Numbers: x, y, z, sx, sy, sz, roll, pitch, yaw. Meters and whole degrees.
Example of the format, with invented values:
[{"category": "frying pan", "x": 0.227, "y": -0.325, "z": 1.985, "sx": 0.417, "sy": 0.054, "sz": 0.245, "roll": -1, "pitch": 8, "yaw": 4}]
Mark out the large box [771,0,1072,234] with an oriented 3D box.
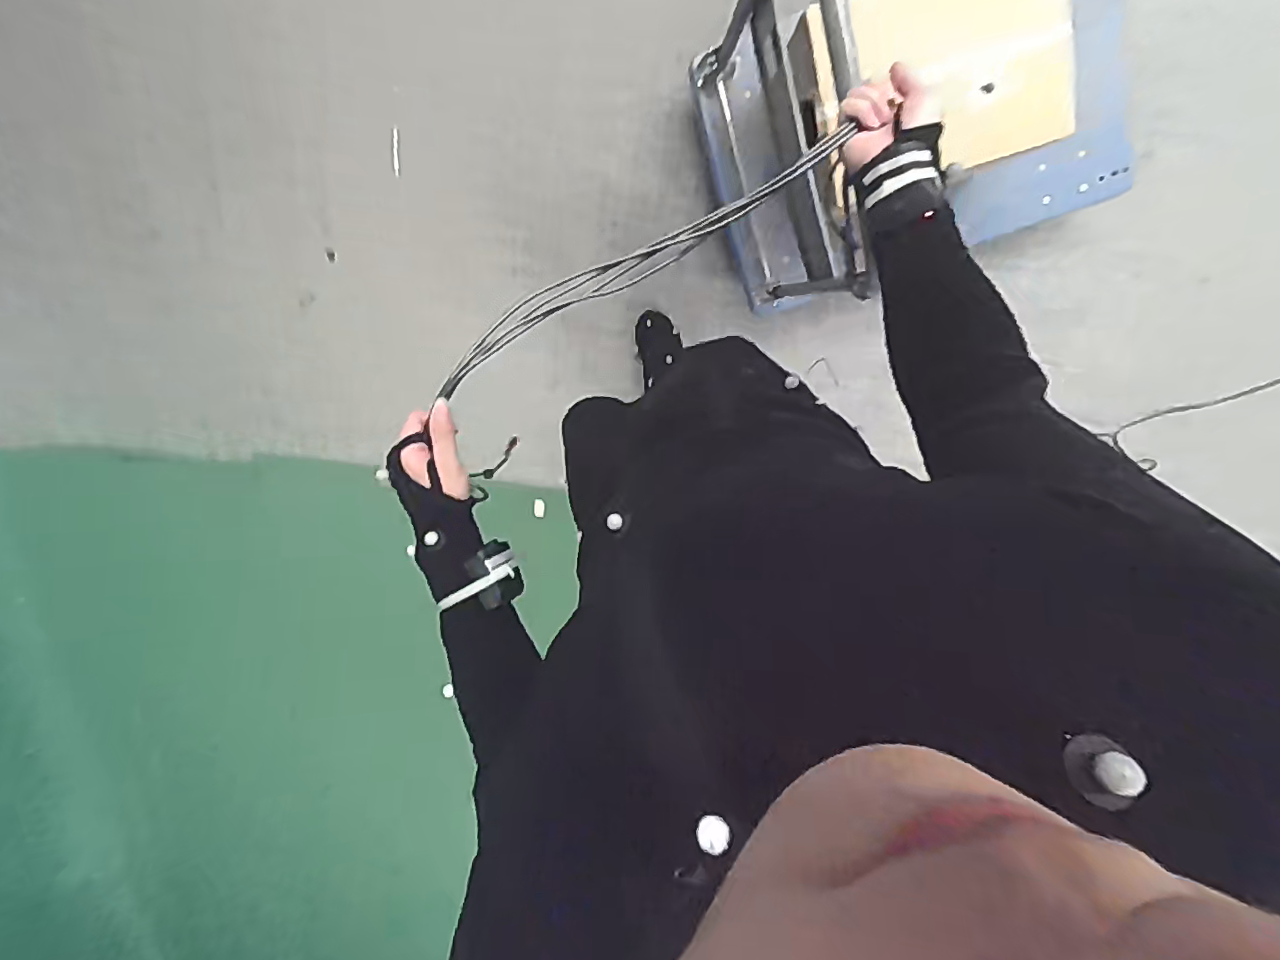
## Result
[{"category": "large box", "x": 0.508, "y": -0.713, "z": 1.043, "sx": 0.408, "sy": 0.320, "sz": 0.320, "roll": -15, "pitch": 107, "yaw": 6}]
